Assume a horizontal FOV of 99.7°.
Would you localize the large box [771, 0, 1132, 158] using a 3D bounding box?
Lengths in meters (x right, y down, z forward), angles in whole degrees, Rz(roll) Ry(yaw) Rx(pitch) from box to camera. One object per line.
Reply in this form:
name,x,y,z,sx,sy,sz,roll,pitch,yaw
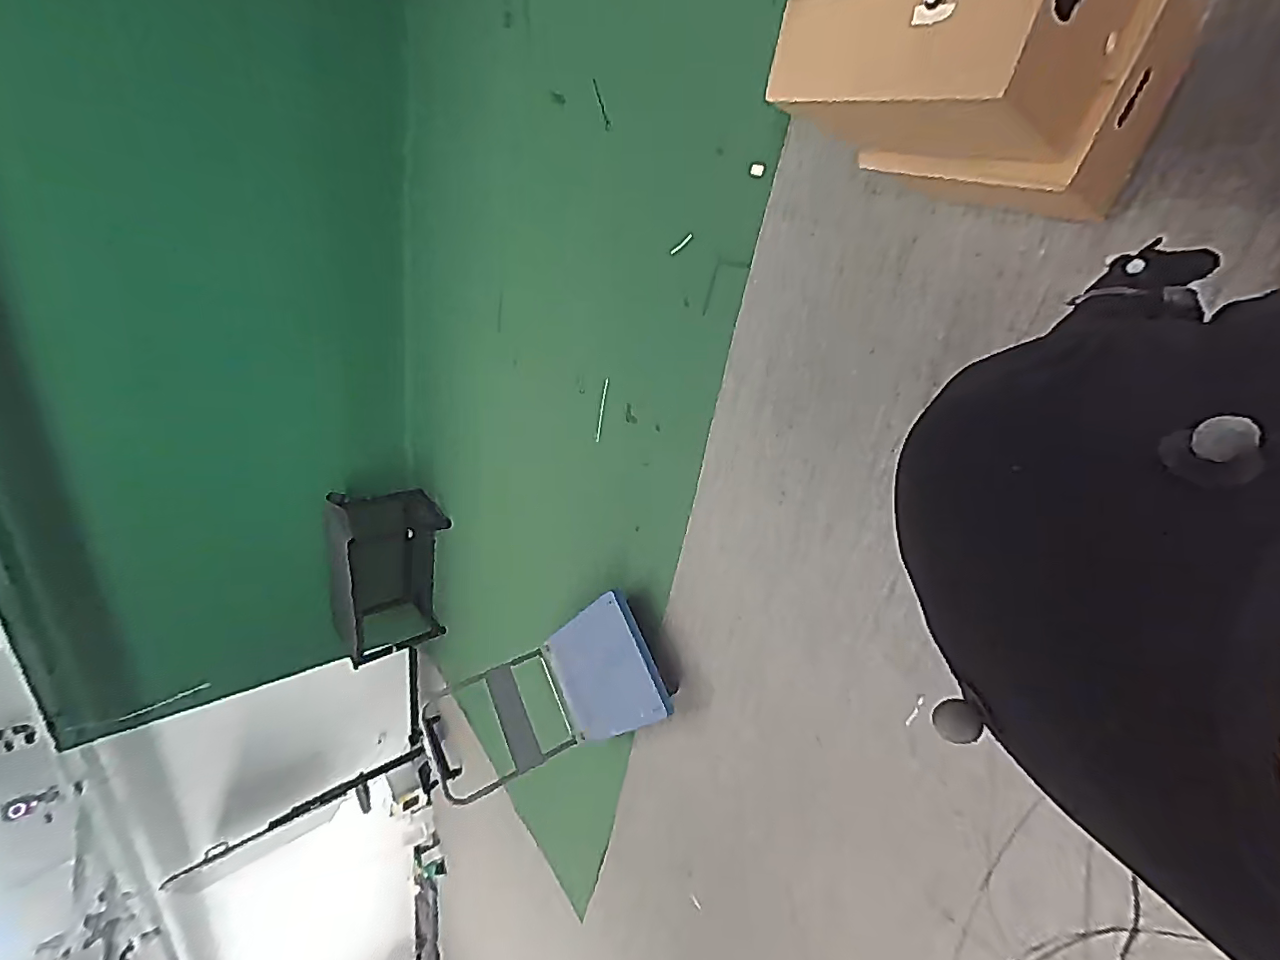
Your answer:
large box,0.497,-0.741,0.871,0.408,0.320,0.320,34,121,39
